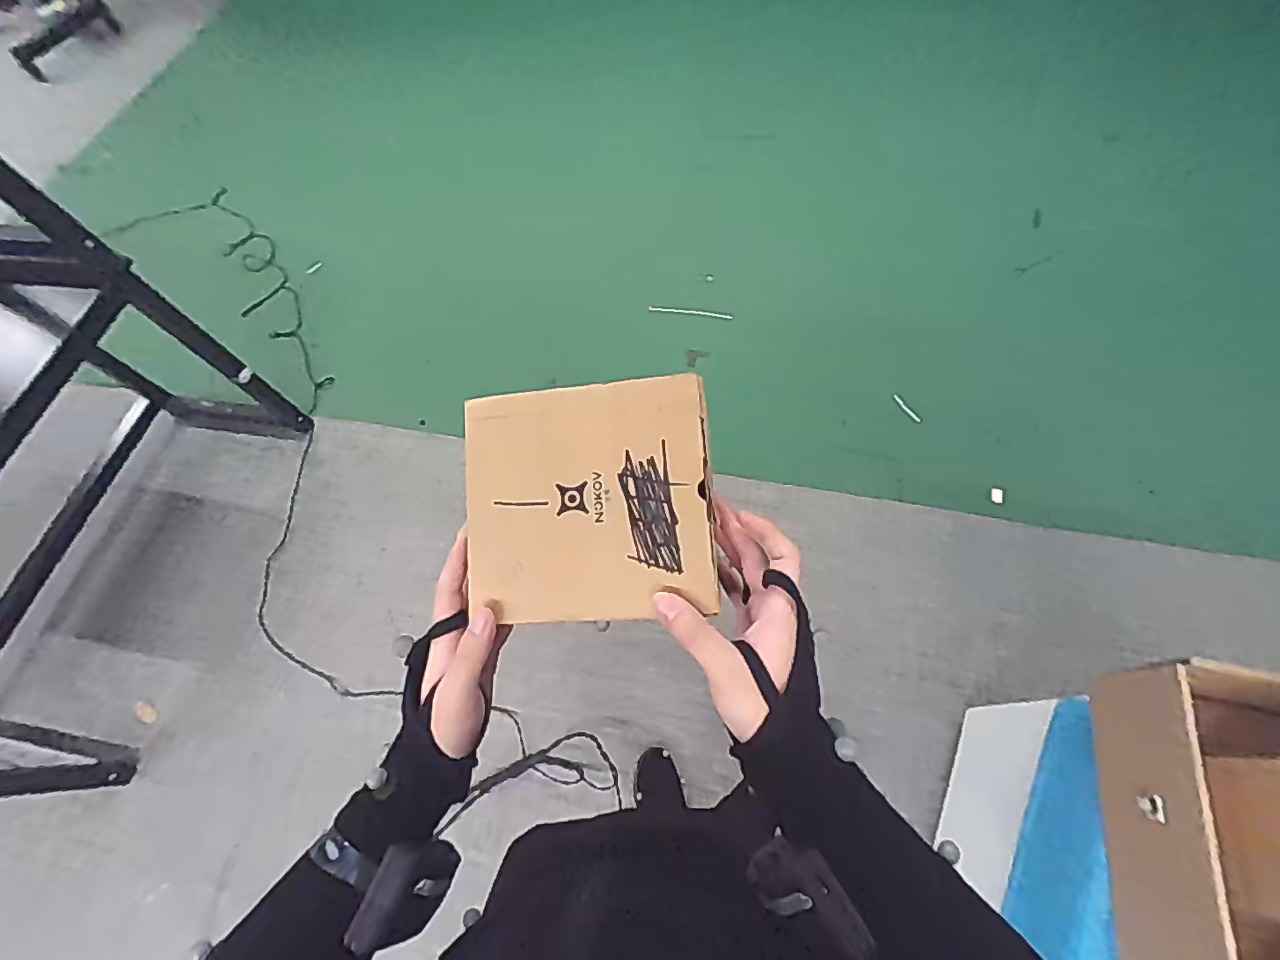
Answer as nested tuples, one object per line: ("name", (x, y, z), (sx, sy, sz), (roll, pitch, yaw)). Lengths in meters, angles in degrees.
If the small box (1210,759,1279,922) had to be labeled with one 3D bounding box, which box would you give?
("small box", (0.823, 0.434, 0.621), (0.168, 0.176, 0.179), (9, 68, 9))
